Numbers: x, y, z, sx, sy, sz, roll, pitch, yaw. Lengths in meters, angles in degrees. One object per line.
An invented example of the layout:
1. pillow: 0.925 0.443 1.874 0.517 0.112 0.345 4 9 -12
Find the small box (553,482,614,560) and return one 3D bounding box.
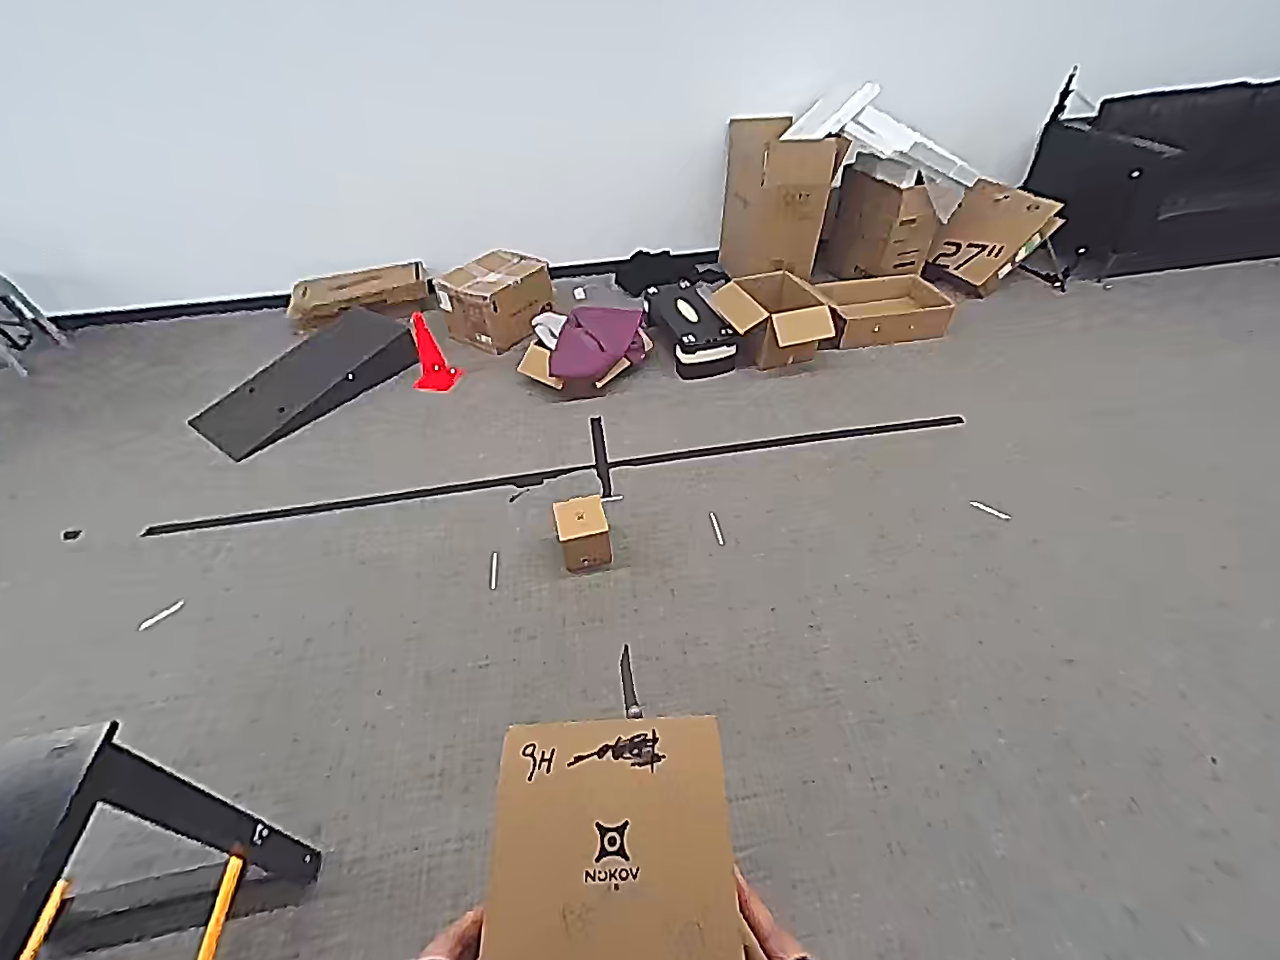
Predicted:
1. small box: -0.188 0.136 1.790 0.168 0.176 0.179 -13 46 -10
